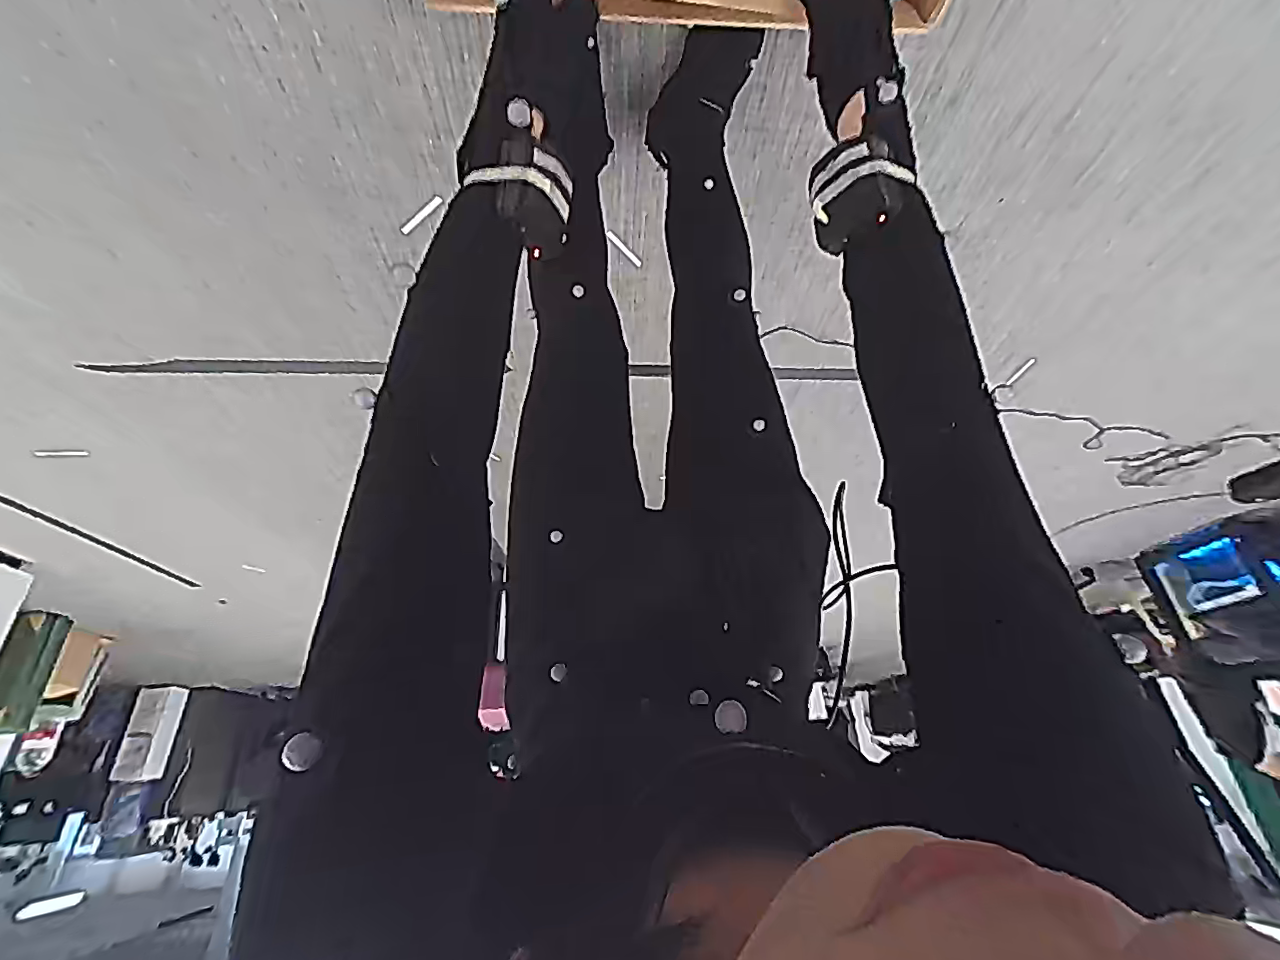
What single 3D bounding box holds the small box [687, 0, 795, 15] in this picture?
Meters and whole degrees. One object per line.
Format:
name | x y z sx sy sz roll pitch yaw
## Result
small box | 0.062 -0.529 0.436 0.168 0.176 0.179 1 152 -8
